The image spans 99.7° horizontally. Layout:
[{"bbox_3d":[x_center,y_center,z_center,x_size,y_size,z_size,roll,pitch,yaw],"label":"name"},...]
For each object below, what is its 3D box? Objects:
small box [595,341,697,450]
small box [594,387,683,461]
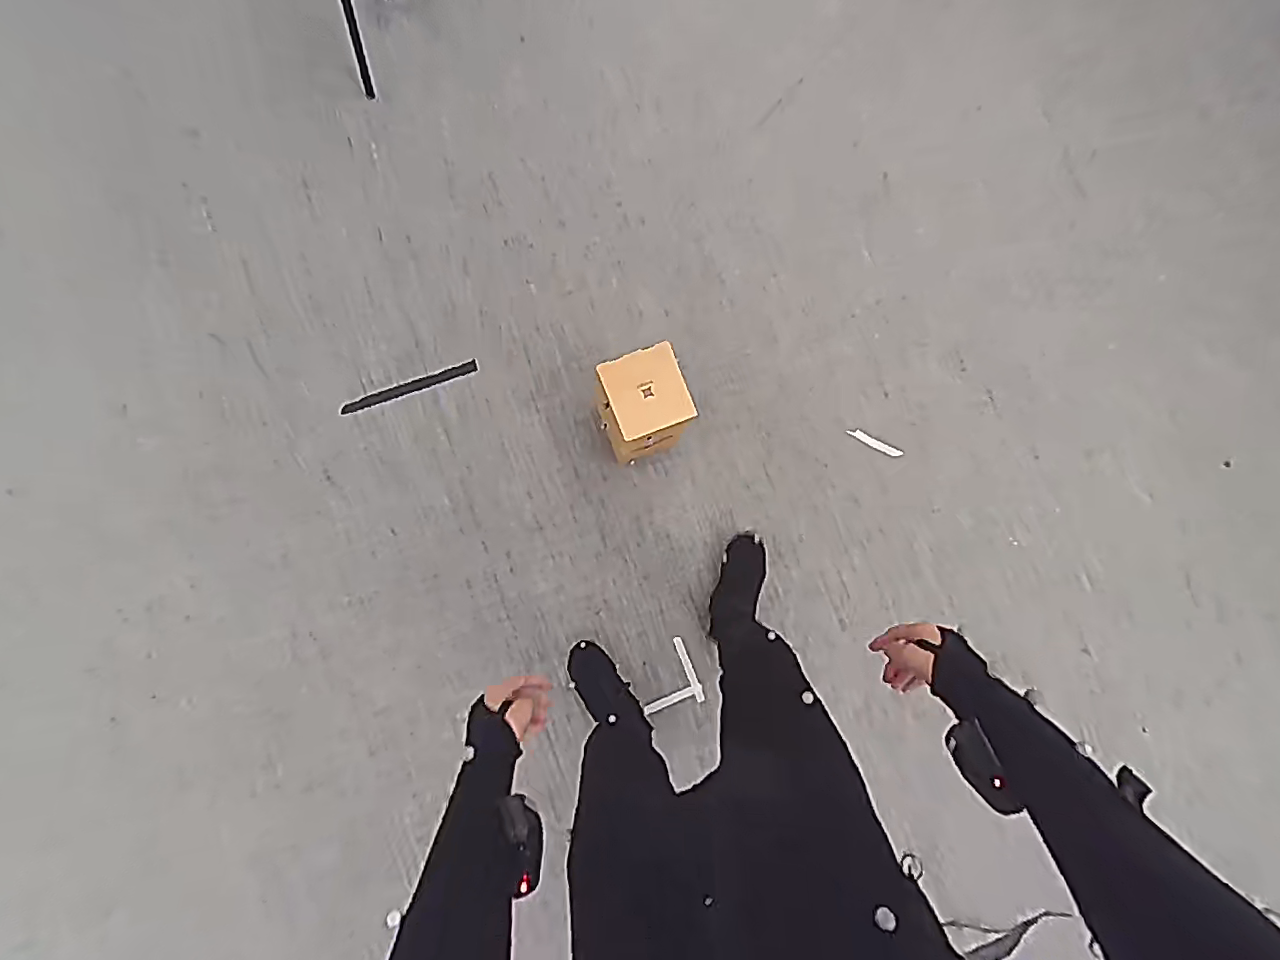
[{"bbox_3d":[0.008,-0.174,1.186,0.168,0.176,0.179,-21,85,-6],"label":"small box"},{"bbox_3d":[-0.007,-0.156,1.347,0.168,0.176,0.179,-22,85,-6],"label":"small box"}]
